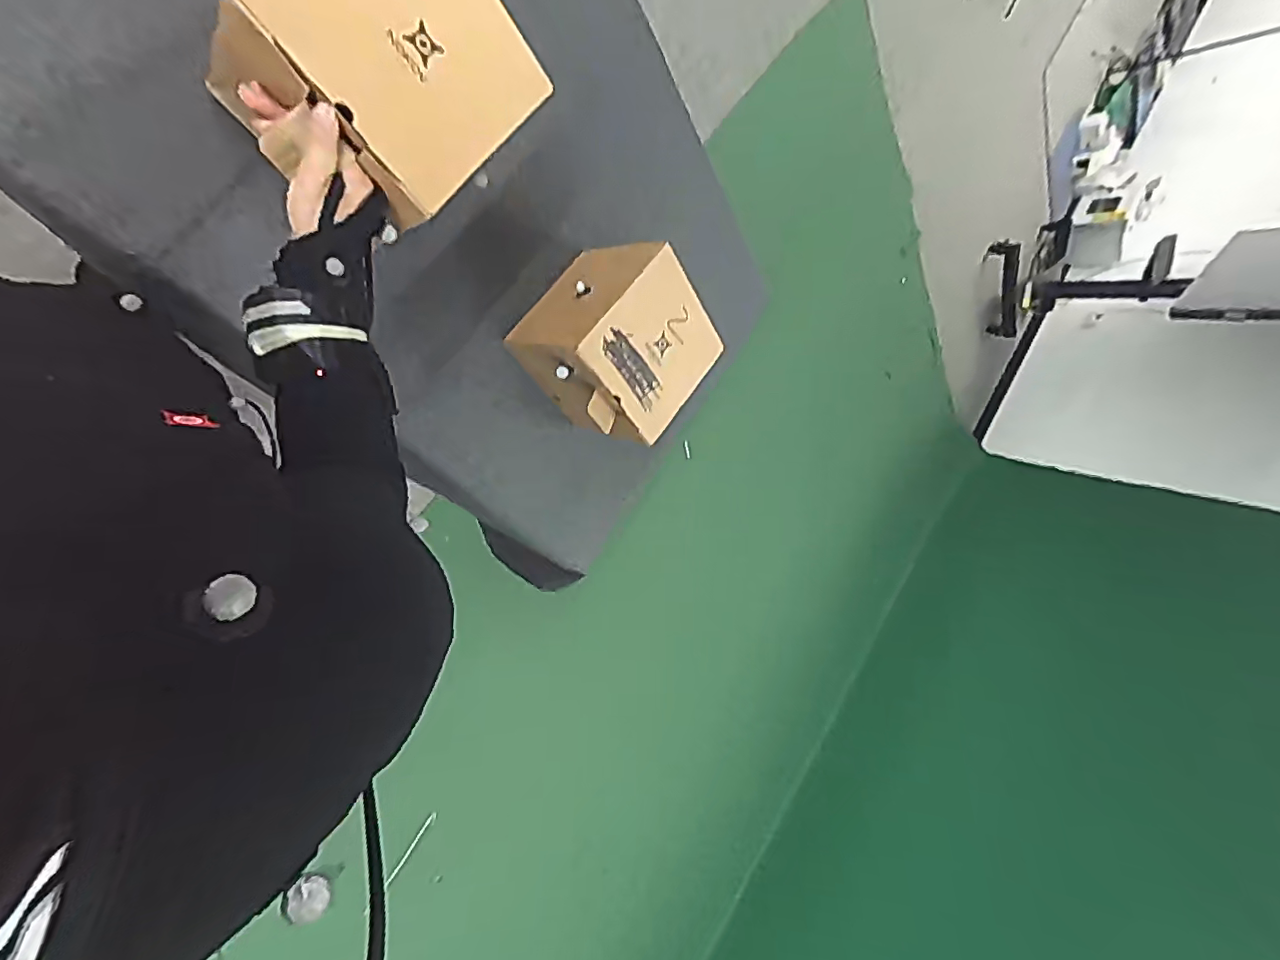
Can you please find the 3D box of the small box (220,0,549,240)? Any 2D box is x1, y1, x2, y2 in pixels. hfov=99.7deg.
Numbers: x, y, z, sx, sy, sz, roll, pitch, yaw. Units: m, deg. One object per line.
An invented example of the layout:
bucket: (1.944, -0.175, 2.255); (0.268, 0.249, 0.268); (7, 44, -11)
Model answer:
small box: (-0.220, -0.338, 0.467); (0.179, 0.176, 0.168); (-56, 131, -16)
